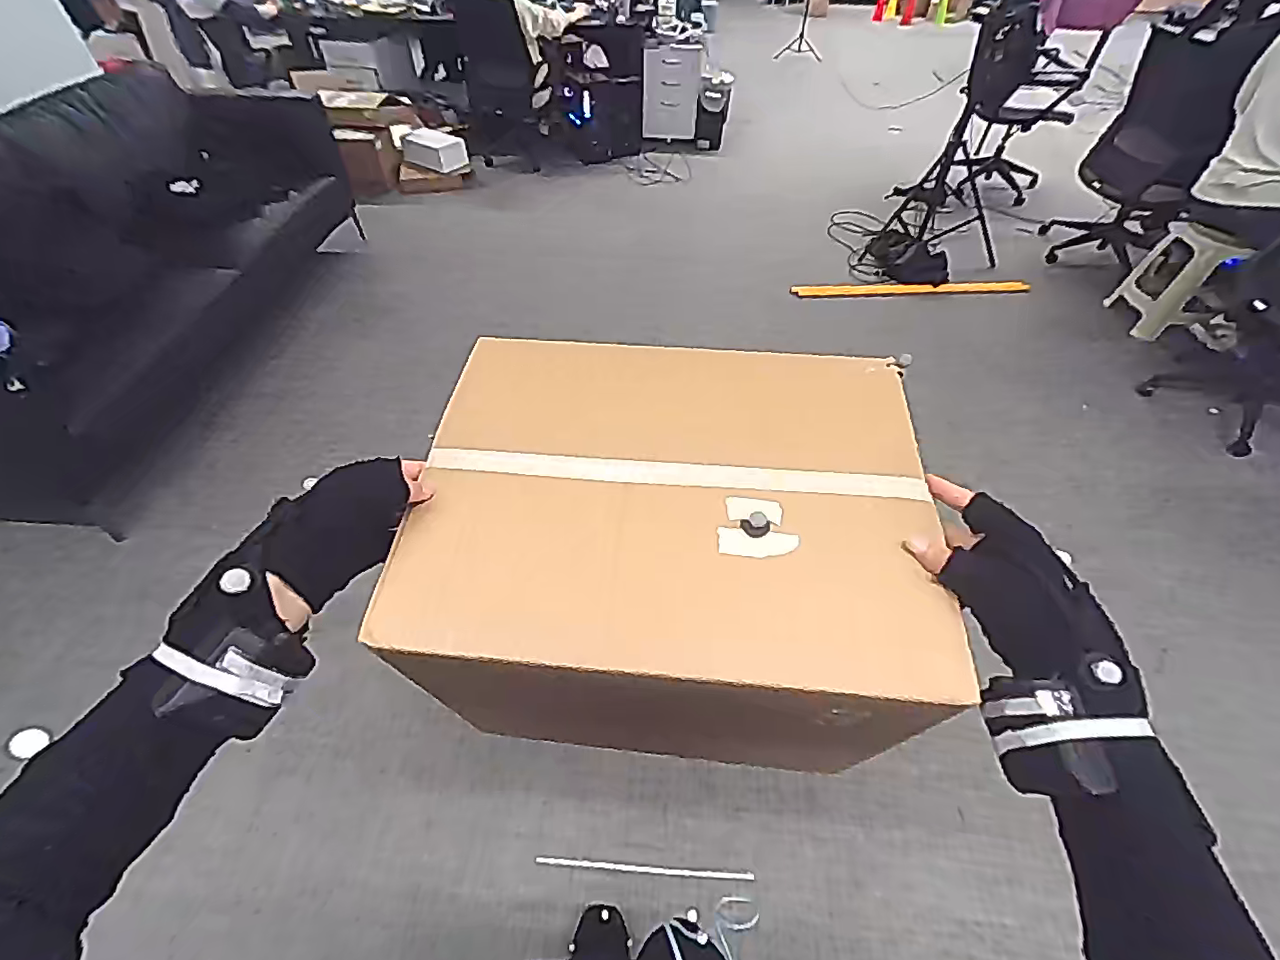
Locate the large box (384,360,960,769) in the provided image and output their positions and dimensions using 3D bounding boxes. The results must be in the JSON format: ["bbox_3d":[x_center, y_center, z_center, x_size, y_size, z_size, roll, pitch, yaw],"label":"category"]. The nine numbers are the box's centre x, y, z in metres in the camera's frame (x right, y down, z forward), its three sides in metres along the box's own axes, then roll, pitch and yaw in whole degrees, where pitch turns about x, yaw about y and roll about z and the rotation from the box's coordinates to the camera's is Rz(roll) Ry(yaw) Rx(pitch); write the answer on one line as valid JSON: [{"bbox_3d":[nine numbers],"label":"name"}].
[{"bbox_3d":[0.030,0.096,0.573,0.408,0.320,0.320,4,55,5],"label":"large box"}]
